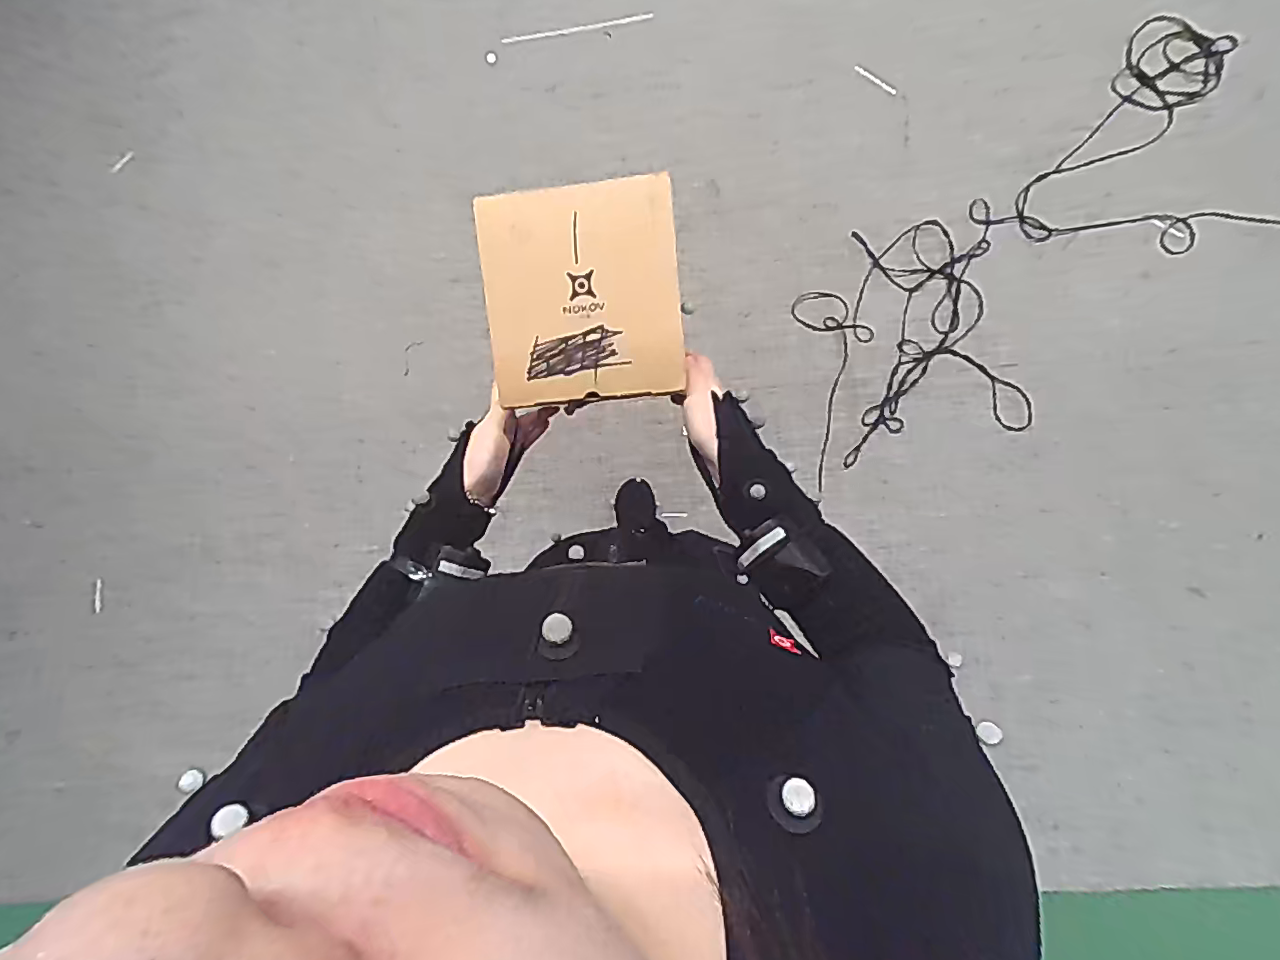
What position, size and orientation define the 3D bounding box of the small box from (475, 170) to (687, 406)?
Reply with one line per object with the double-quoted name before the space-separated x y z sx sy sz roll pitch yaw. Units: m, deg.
"small box" -0.041 -0.170 0.526 0.168 0.176 0.179 -4 100 5
